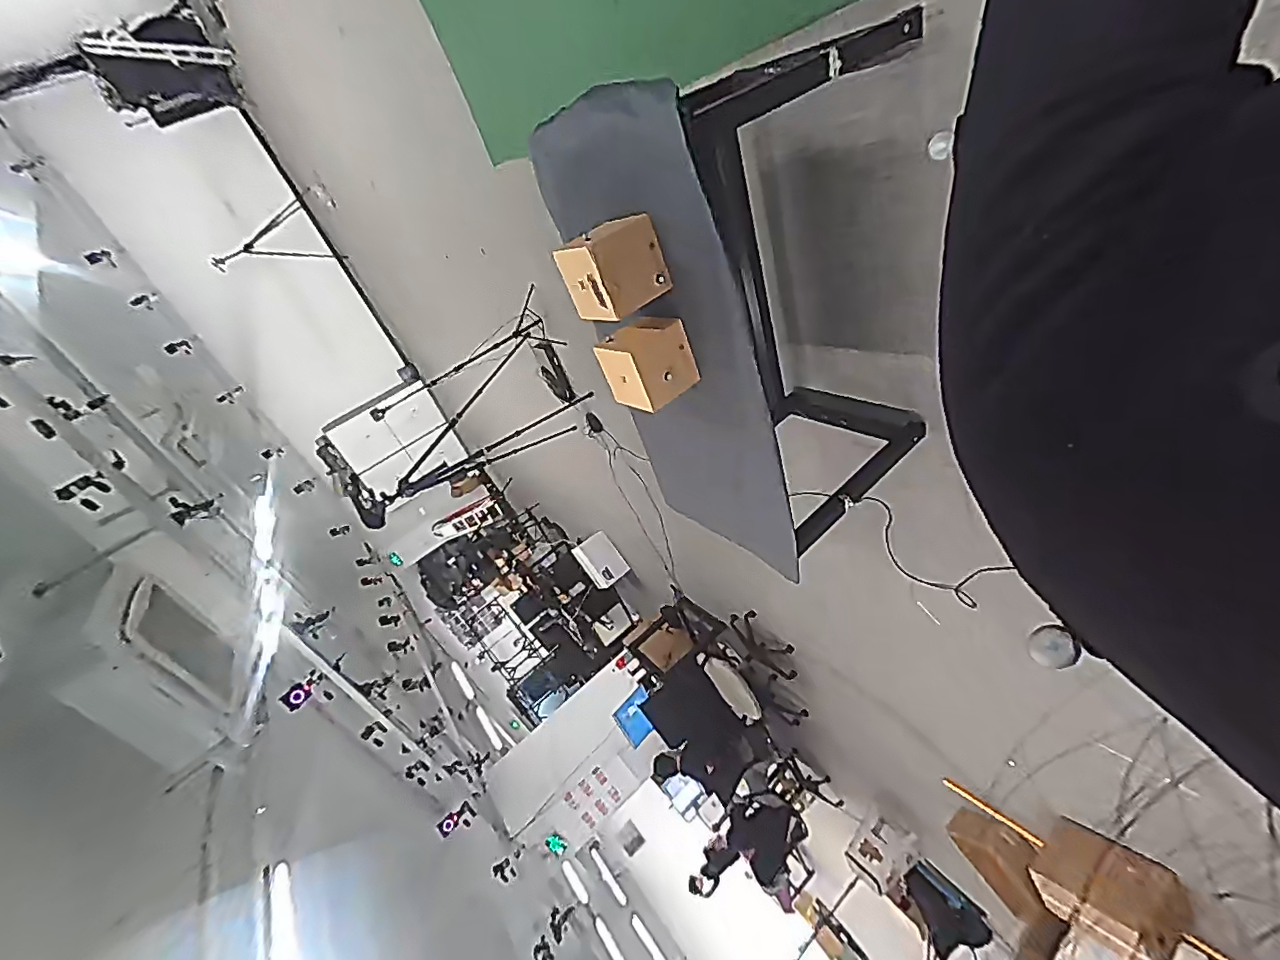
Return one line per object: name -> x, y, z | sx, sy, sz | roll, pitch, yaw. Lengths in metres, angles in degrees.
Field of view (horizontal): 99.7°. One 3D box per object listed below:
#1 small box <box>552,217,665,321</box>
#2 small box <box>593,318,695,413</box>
small box -> -0.063, -0.477, 1.225 | 0.179, 0.176, 0.168 | 26, 147, 52
small box -> 0.018, -0.294, 1.359 | 0.179, 0.176, 0.168 | 26, 147, 52
